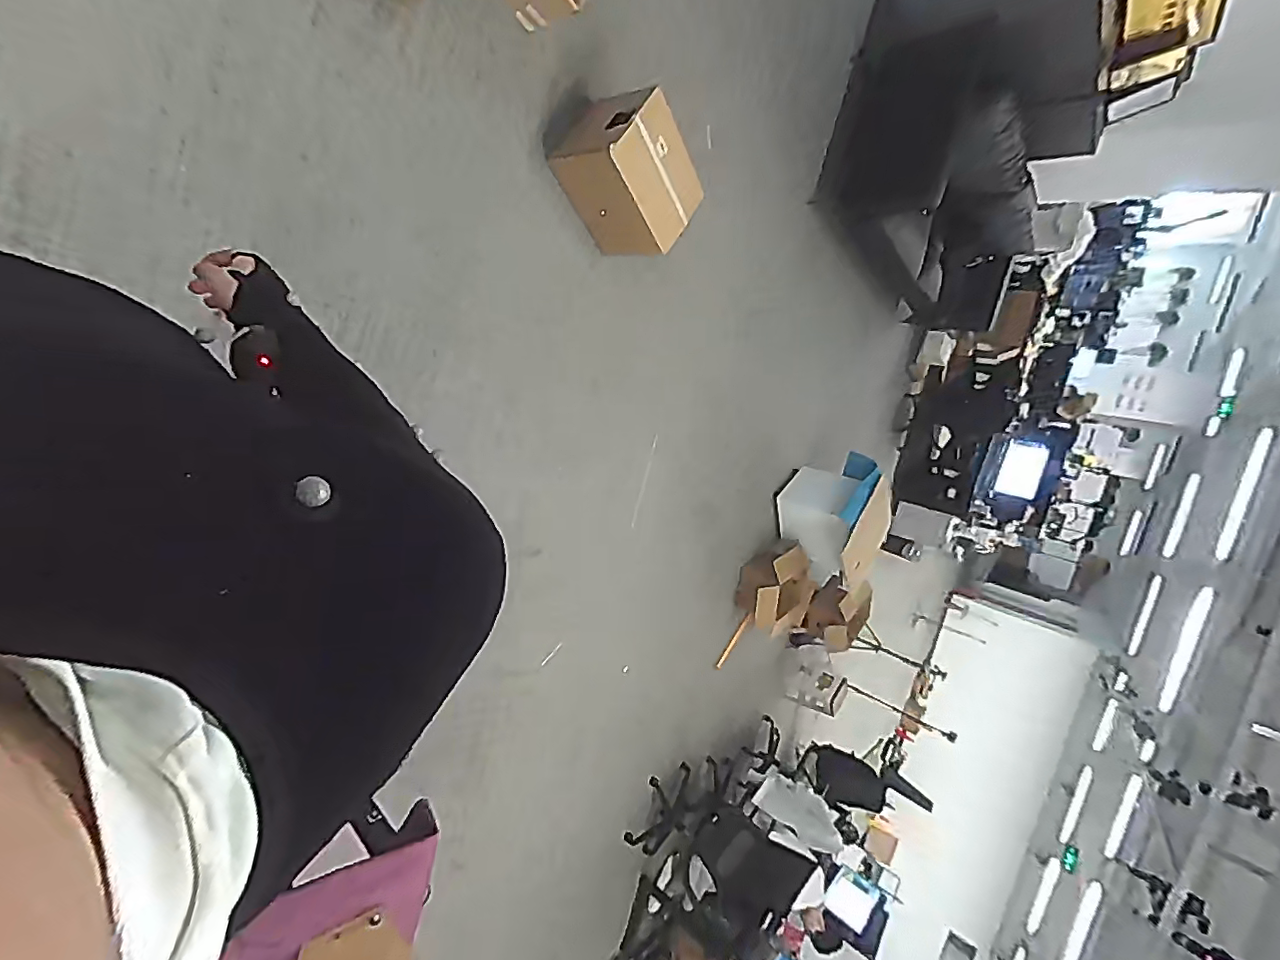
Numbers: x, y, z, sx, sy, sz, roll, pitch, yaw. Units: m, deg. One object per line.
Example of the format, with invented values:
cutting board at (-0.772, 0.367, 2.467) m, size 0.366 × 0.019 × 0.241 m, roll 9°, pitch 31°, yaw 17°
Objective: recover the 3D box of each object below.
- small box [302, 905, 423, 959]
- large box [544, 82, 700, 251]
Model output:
small box at (-0.569, 1.009, 1.084) m, size 0.168 × 0.176 × 0.179 m, roll 9°, pitch 99°, yaw -51°
large box at (-0.053, -1.071, 1.900) m, size 0.320 × 0.320 × 0.408 m, roll -60°, pitch 140°, yaw -14°
